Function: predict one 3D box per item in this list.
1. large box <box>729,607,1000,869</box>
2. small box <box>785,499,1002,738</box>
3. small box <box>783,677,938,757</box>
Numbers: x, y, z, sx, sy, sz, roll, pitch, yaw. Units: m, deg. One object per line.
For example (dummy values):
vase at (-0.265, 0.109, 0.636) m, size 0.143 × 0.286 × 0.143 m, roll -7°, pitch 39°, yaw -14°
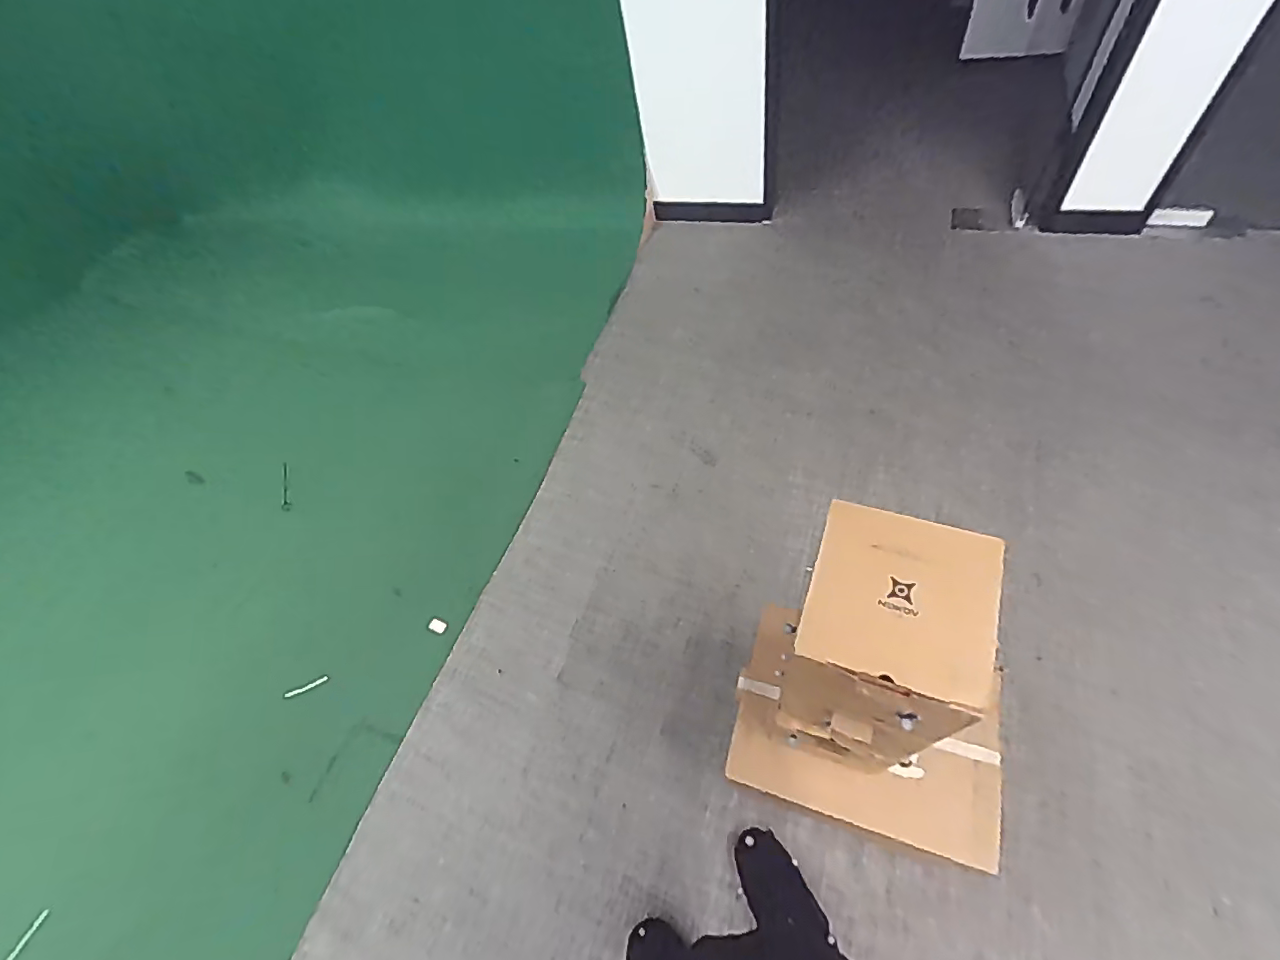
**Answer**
large box at (0.396, 0.478, 1.024) m, size 0.408 × 0.320 × 0.320 m, roll 11°, pitch 62°, yaw 17°
small box at (0.256, 0.152, 0.576) m, size 0.168 × 0.176 × 0.179 m, roll 15°, pitch 61°, yaw 18°
small box at (0.291, 0.237, 0.710) m, size 0.168 × 0.176 × 0.179 m, roll 16°, pitch 62°, yaw 20°
